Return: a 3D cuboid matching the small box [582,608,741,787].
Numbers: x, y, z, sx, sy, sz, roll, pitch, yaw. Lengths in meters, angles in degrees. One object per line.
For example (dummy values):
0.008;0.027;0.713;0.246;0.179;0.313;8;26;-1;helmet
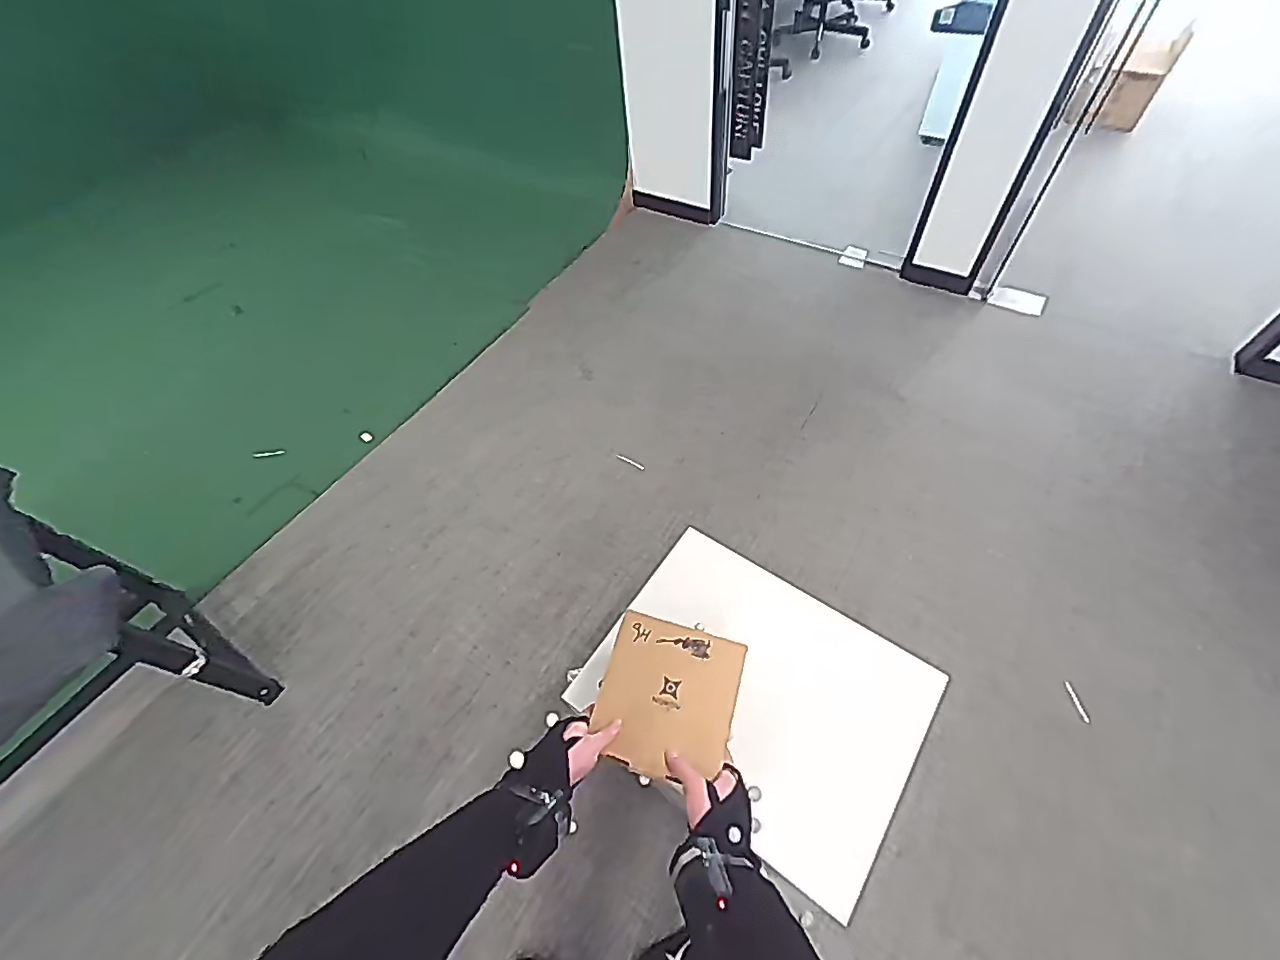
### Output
0.033;0.299;0.739;0.168;0.176;0.179;13;62;8;small box
